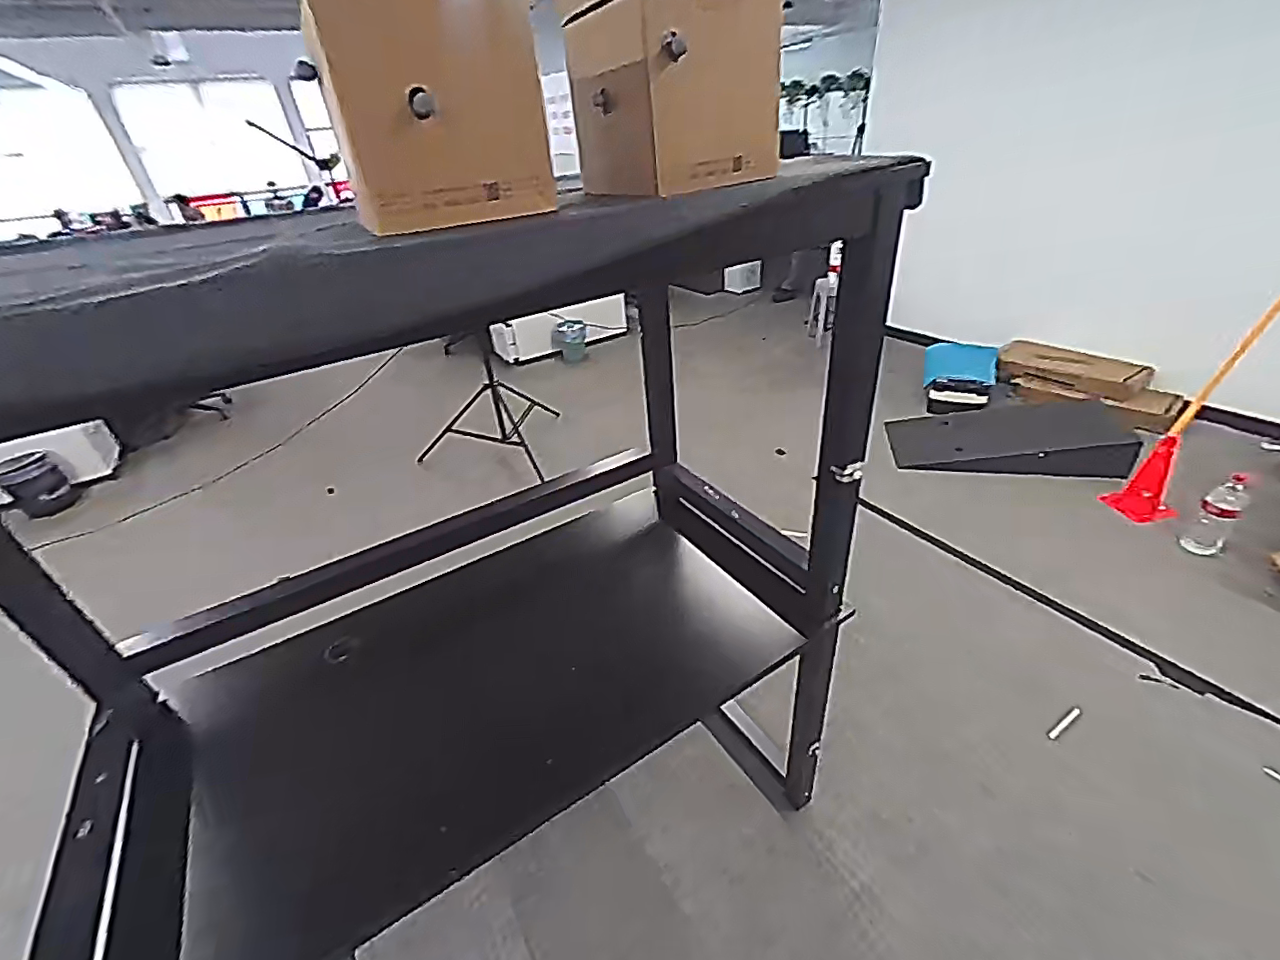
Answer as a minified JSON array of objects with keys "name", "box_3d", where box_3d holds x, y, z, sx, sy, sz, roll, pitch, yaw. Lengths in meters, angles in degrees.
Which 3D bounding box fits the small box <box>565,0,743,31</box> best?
[{"name":"small box","box_3d":[0.021,-0.547,0.509,0.179,0.176,0.168,-23,34,-23]}]

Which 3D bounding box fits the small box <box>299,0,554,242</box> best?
[{"name":"small box","box_3d":[-0.195,-0.327,0.508,0.168,0.176,0.179,-21,34,-22]}]
